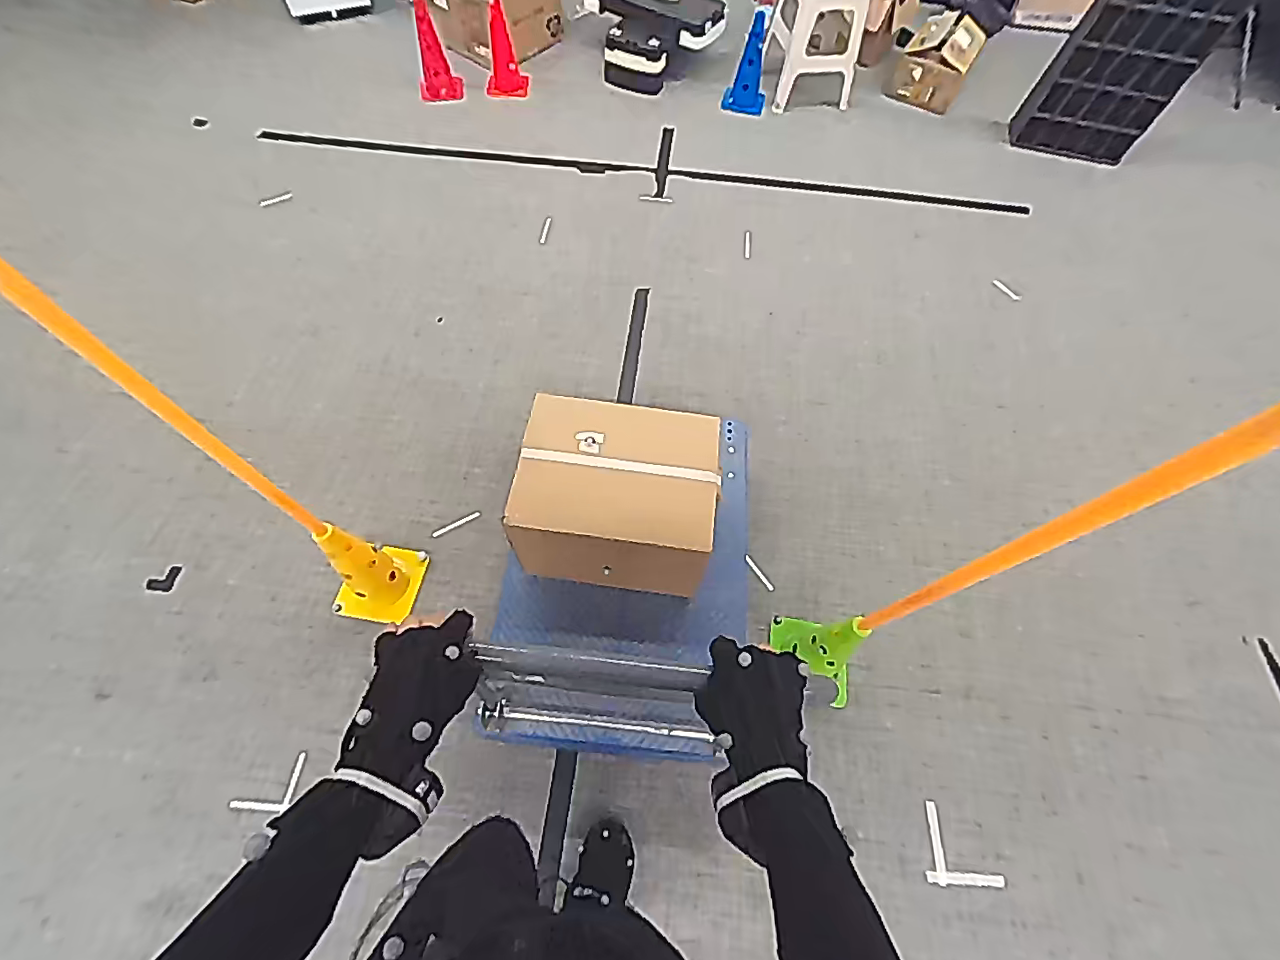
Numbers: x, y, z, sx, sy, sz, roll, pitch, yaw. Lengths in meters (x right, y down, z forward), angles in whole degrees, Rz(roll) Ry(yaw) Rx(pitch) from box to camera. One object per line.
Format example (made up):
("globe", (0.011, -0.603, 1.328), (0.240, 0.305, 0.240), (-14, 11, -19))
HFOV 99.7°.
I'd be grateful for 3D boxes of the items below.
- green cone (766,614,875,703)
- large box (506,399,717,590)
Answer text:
("green cone", (0.441, 0.380, 1.250), (0.202, 0.368, 0.200), (11, 62, 2))
("large box", (-0.048, 0.046, 1.242), (0.408, 0.320, 0.320), (7, 62, 2))
